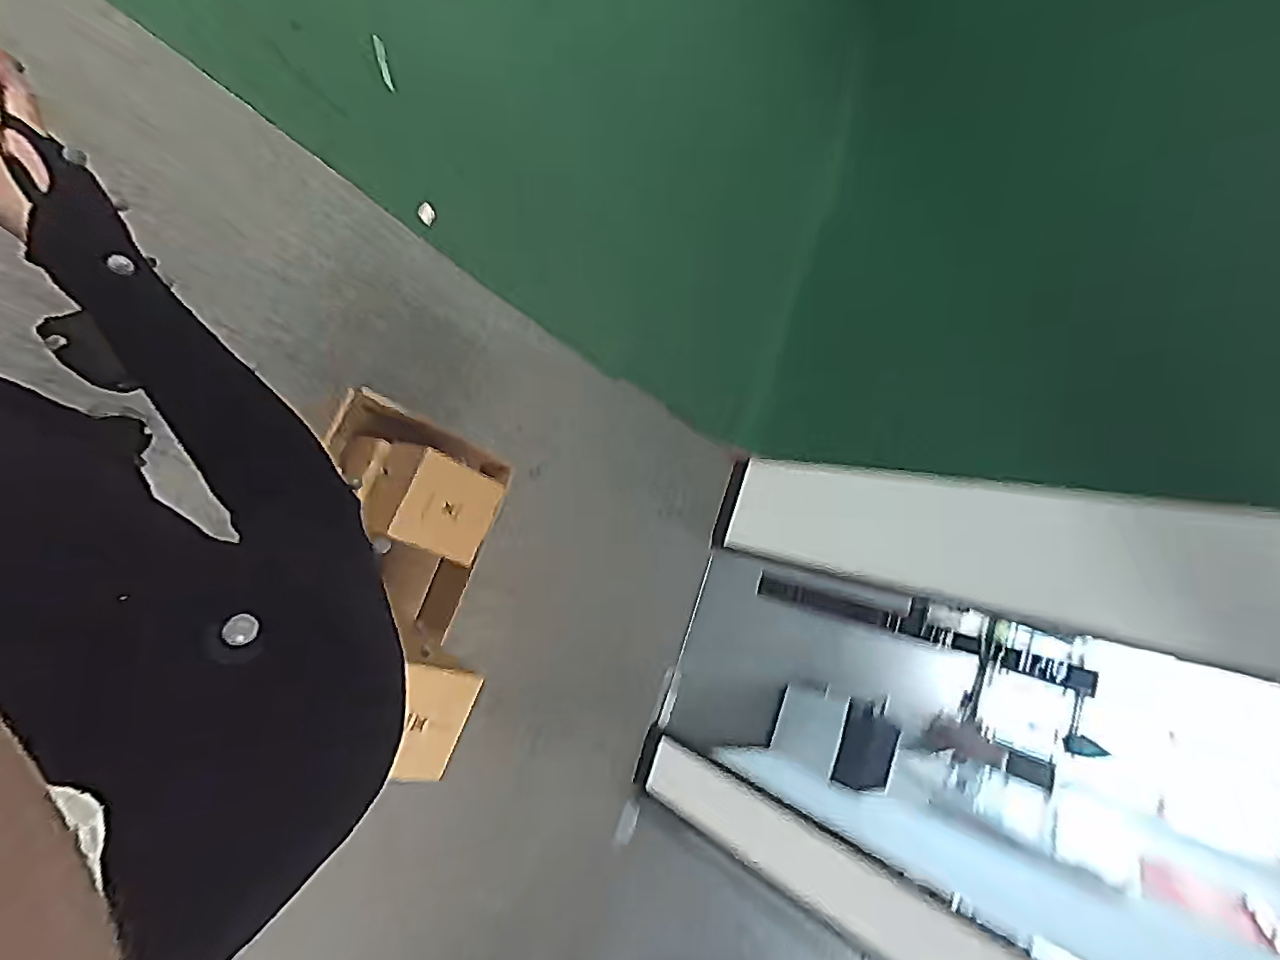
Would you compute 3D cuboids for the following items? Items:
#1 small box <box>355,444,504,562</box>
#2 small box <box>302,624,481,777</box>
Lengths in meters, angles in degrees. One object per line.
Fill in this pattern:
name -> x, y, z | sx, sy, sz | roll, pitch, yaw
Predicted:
small box -> -0.402, 0.039, 1.031 | 0.179, 0.176, 0.168 | 34, 71, -43
small box -> -0.395, 0.342, 0.855 | 0.179, 0.176, 0.168 | 35, 74, -44
